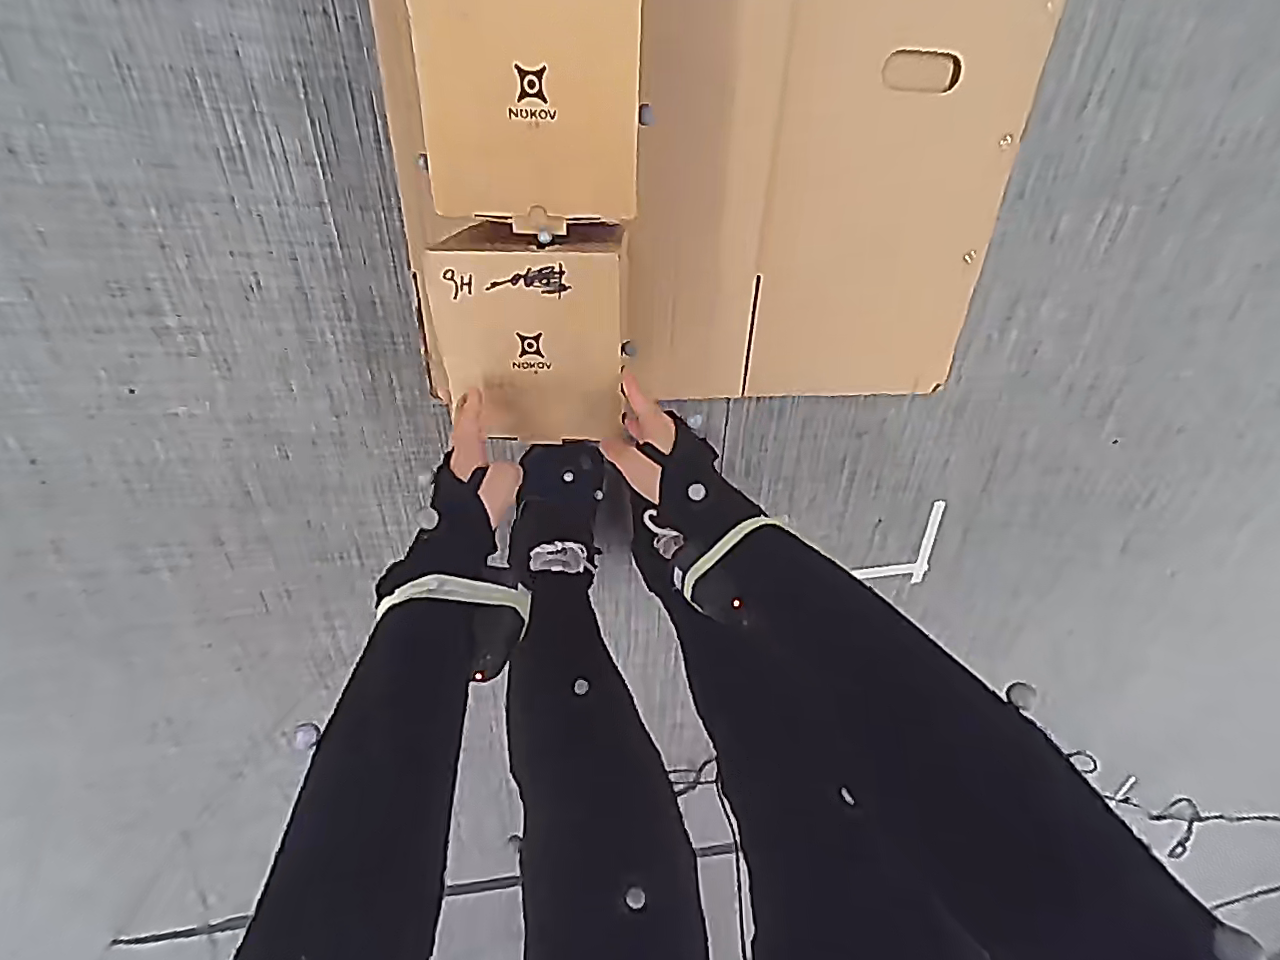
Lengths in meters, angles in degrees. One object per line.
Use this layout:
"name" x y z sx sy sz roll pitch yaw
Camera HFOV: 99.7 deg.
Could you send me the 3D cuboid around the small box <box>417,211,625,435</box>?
"small box" -0.100 -0.162 0.547 0.168 0.176 0.179 0 124 -1
